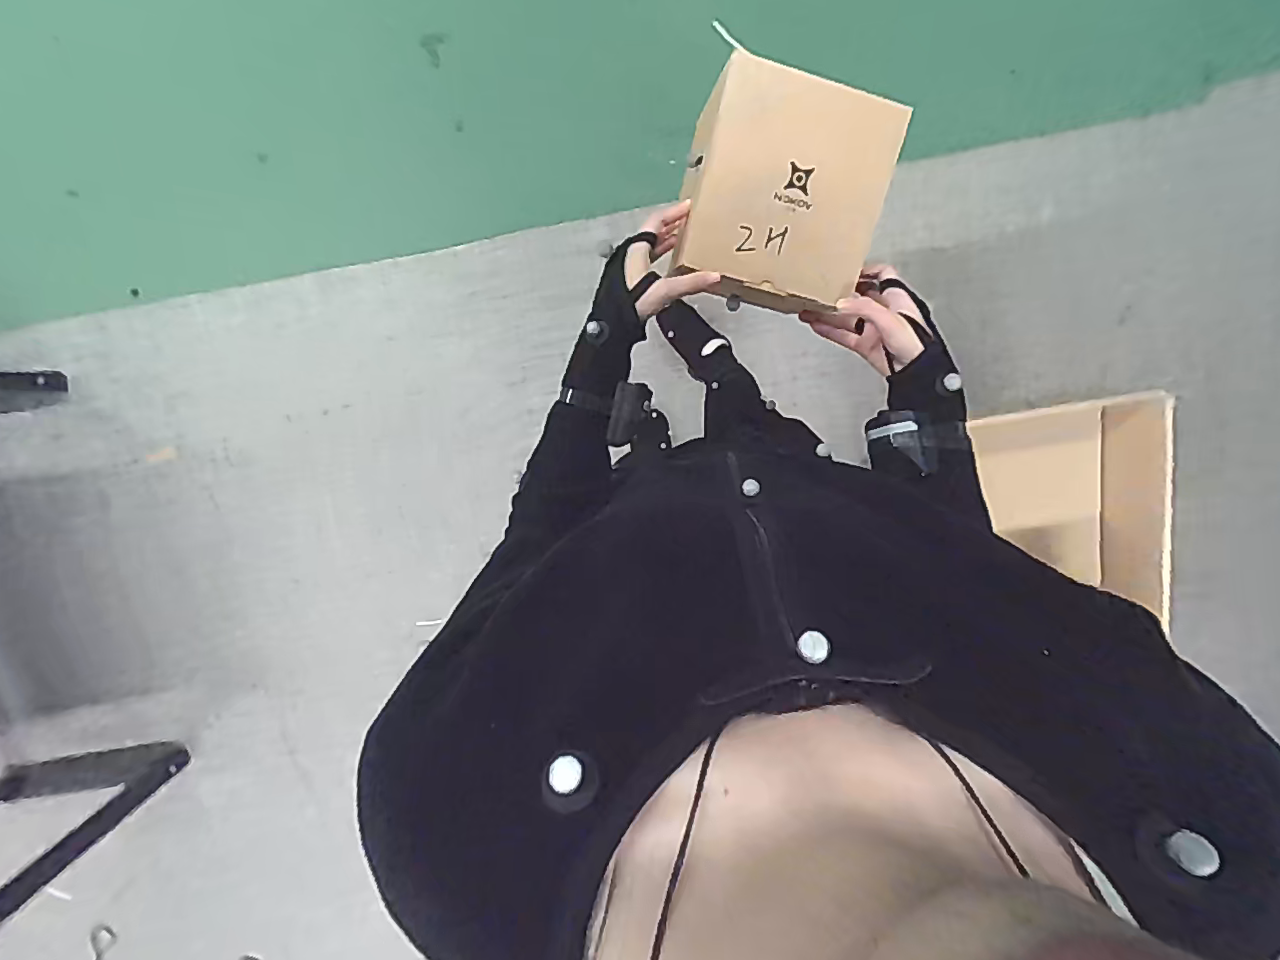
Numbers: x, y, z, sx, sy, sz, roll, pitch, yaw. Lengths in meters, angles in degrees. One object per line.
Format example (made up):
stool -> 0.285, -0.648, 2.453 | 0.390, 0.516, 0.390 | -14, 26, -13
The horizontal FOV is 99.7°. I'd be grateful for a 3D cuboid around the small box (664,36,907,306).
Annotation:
small box -> 0.126, -0.286, 0.548 | 0.168, 0.176, 0.179 | 12, 104, -7
